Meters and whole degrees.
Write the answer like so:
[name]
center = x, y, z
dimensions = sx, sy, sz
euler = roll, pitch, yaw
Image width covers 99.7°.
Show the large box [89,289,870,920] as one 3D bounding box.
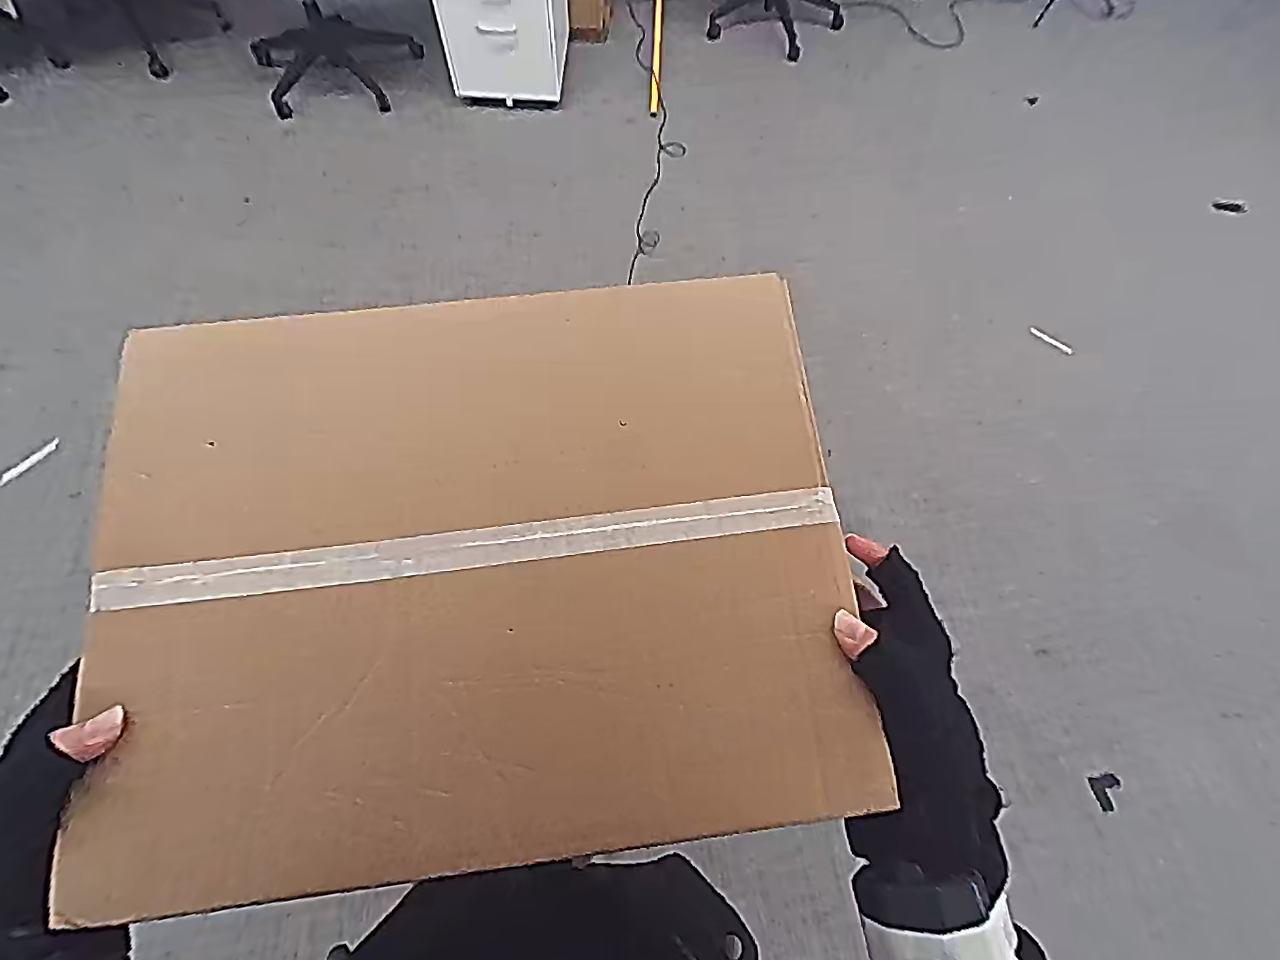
[large box]
center = -0.094, 0.081, 0.454
dimensions = 0.408, 0.320, 0.320
euler = -6, 74, -3
